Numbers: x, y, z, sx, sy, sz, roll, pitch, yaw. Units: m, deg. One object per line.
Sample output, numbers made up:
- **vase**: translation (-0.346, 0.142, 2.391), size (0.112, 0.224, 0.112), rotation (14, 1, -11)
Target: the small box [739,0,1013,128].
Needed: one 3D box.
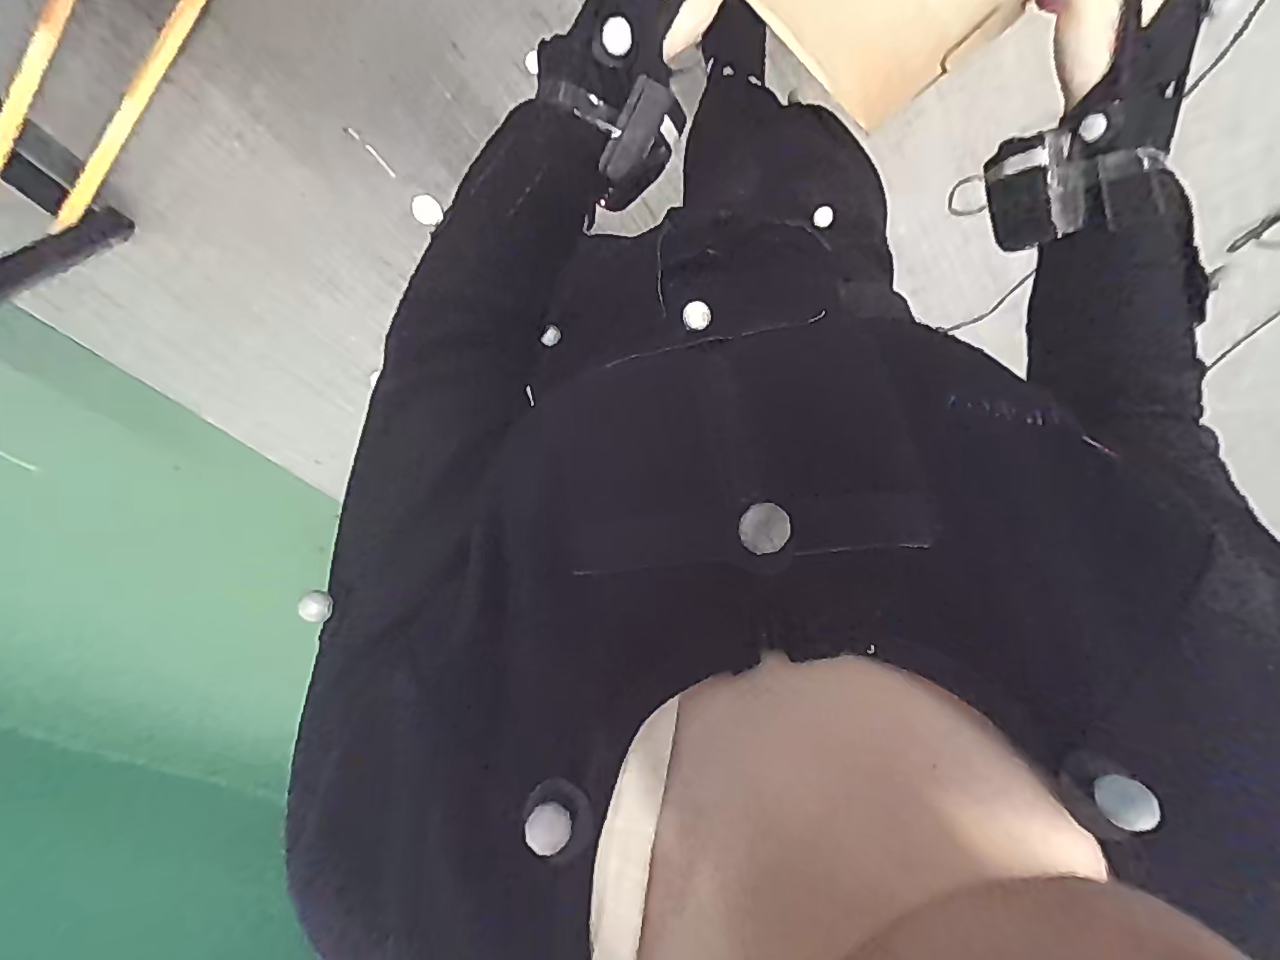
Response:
- **small box**: translation (0.158, -0.390, 0.344), size (0.179, 0.176, 0.168), rotation (25, 149, -27)
